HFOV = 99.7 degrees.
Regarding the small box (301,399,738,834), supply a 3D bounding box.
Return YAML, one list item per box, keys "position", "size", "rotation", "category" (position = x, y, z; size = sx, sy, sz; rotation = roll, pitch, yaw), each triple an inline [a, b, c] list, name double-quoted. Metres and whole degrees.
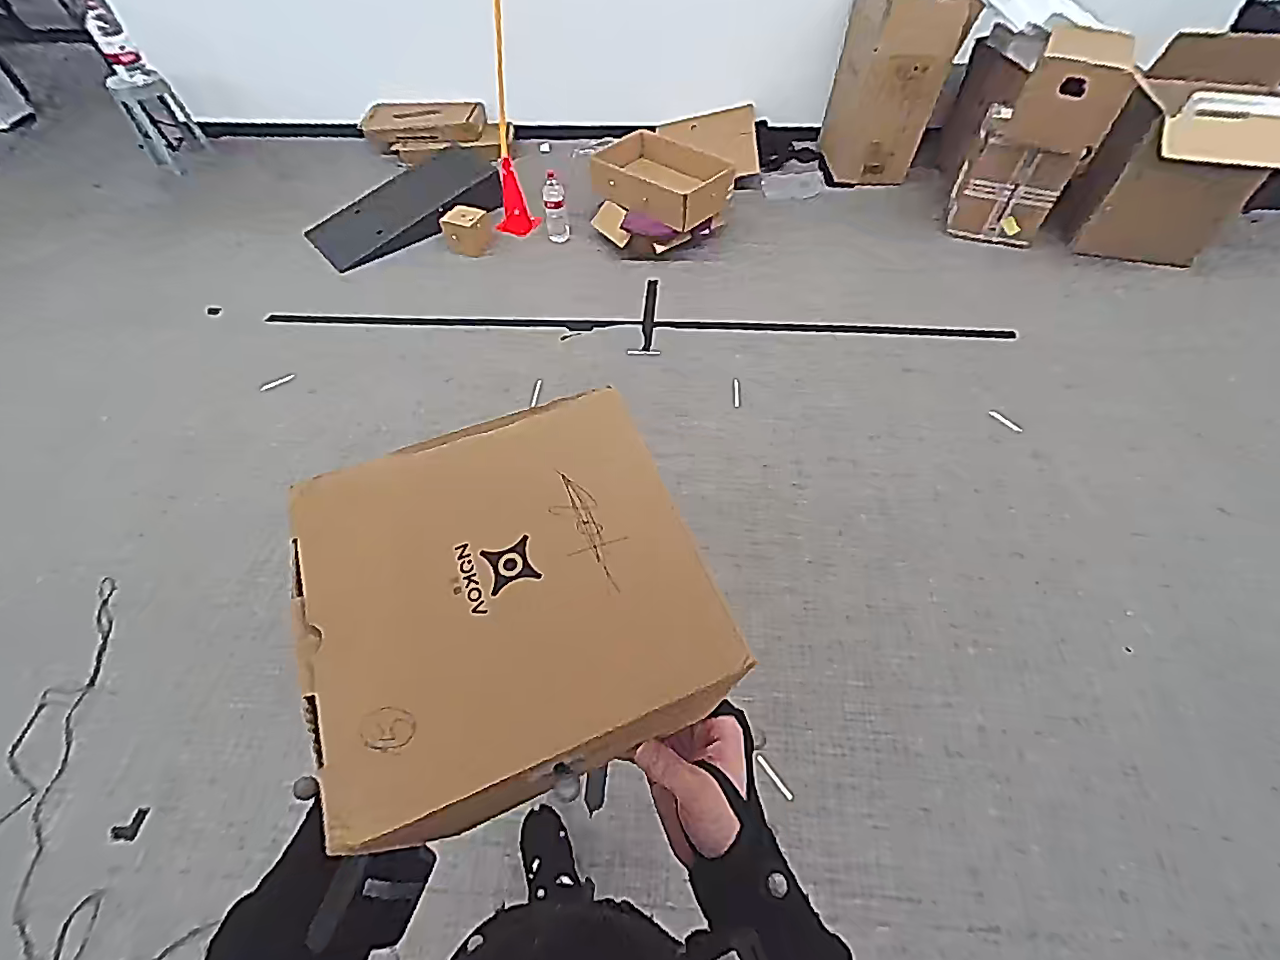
- position: [-0.066, 0.086, 0.328]
  size: [0.179, 0.176, 0.168]
  rotation: [-20, 62, -14]
  category: "small box"
